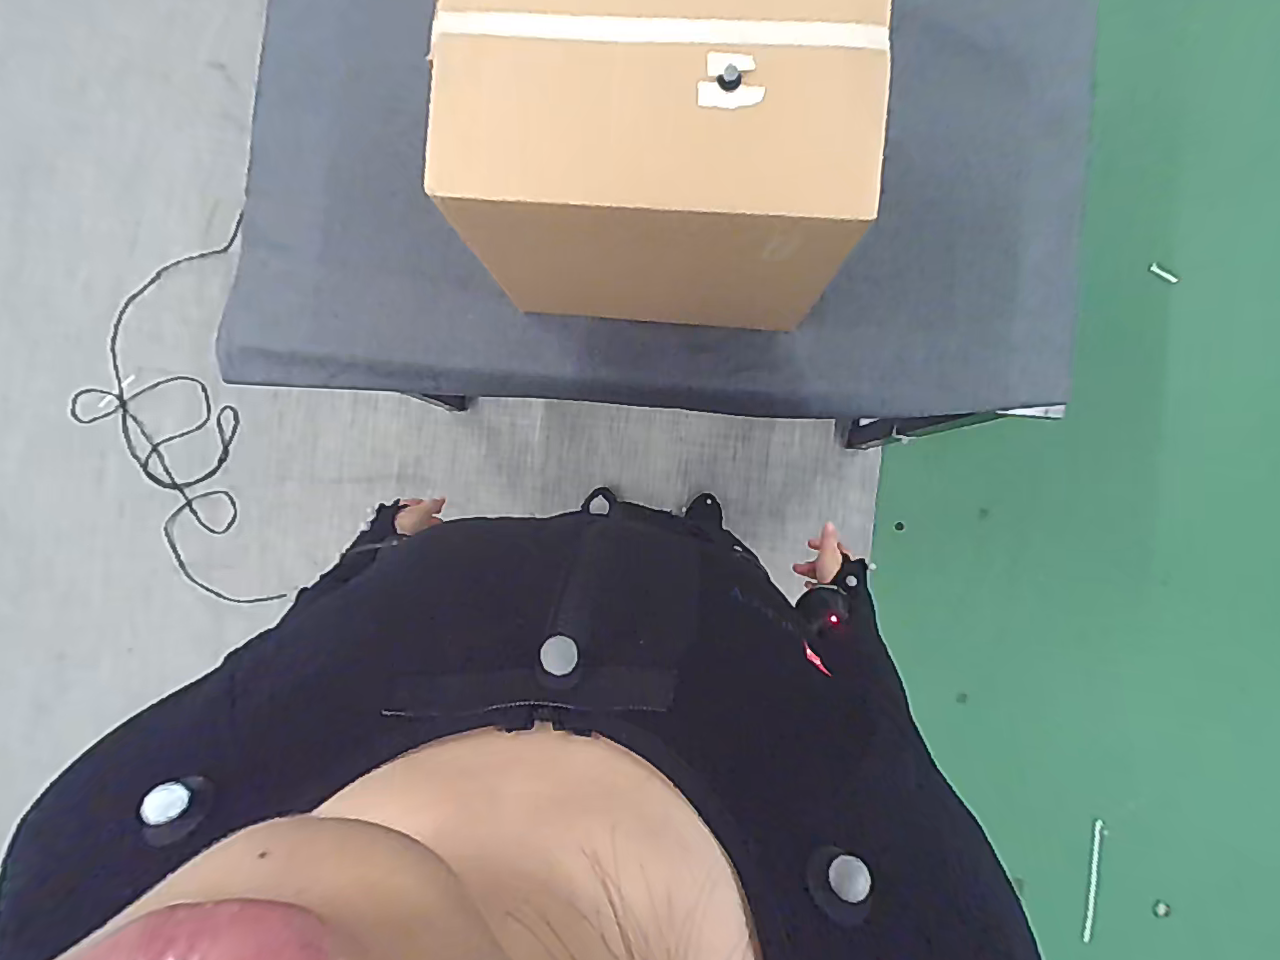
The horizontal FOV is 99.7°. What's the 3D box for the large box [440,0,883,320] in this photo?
[{"bbox_3d":[0.025,-0.397,0.645,0.408,0.320,0.320,4,89,3],"label":"large box"}]
